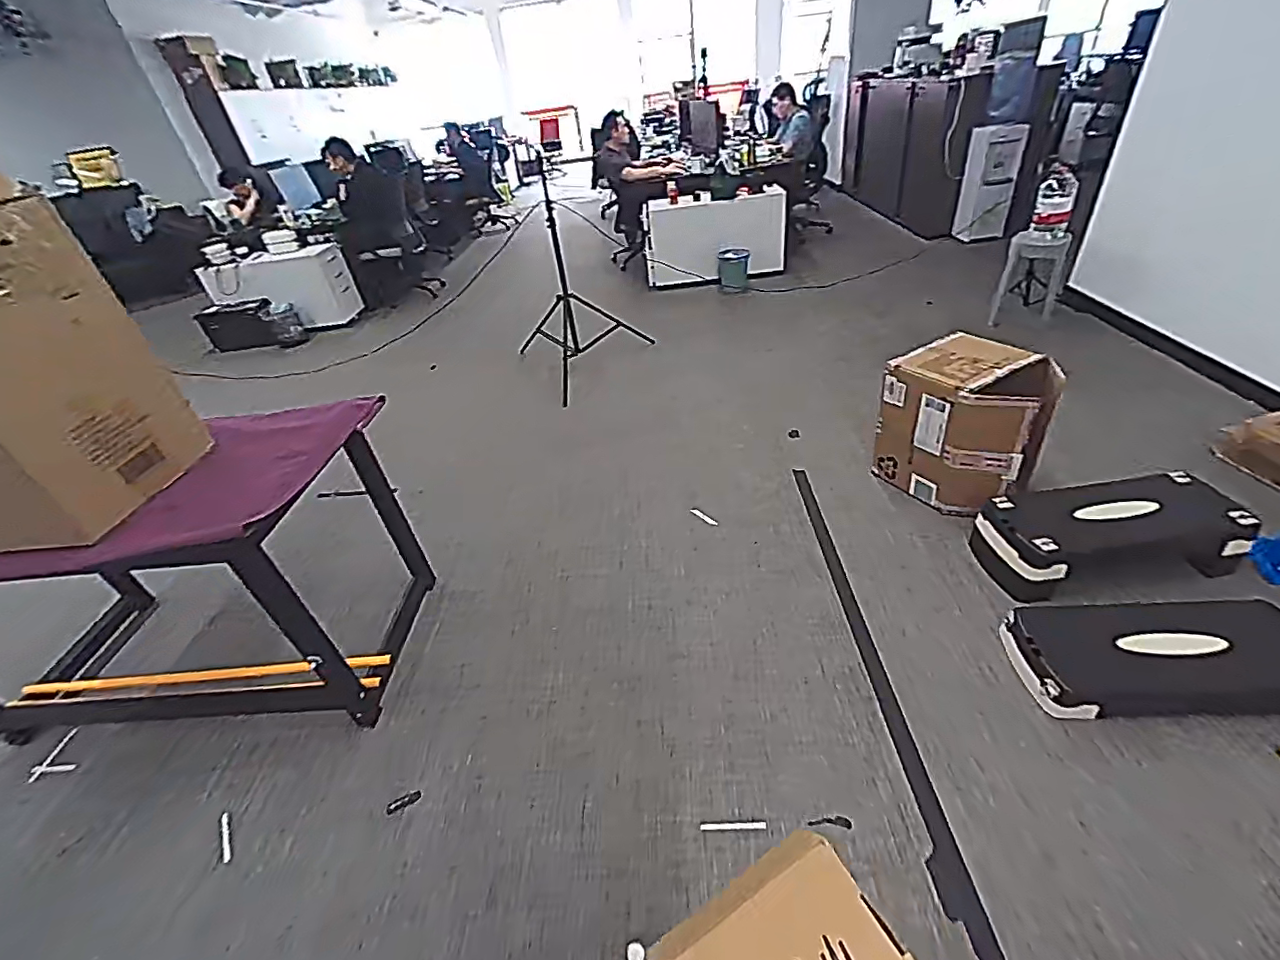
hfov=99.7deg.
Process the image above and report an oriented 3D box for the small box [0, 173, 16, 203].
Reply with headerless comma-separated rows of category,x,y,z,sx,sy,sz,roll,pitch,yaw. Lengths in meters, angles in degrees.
small box,-1.358,-0.583,1.000,0.179,0.176,0.168,-10,36,2
